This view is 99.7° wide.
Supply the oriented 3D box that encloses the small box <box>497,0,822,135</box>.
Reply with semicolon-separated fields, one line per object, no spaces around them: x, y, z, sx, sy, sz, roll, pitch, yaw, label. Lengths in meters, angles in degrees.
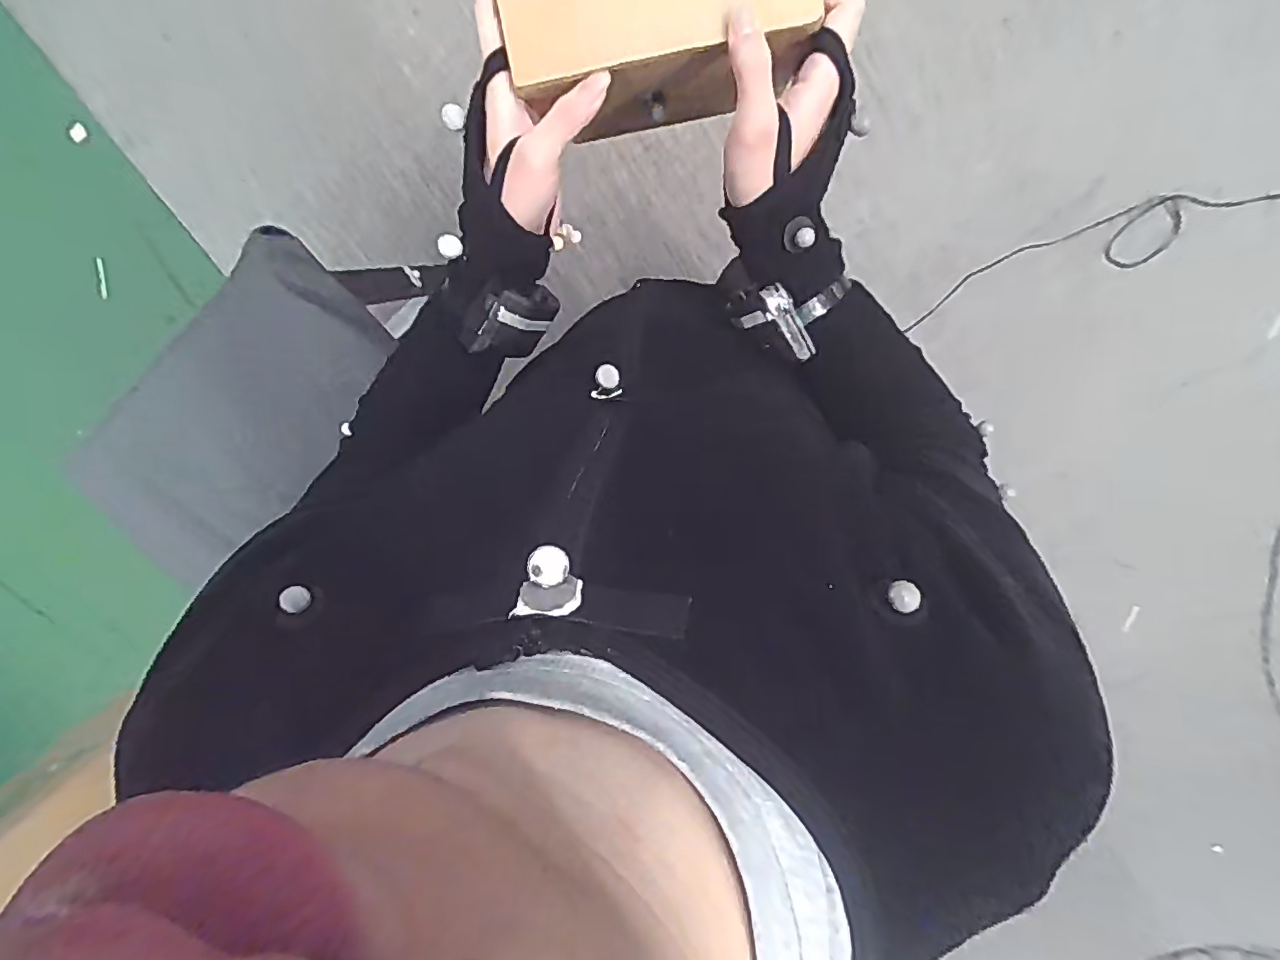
0.007;-0.342;0.343;0.179;0.176;0.168;-6;111;9;small box
